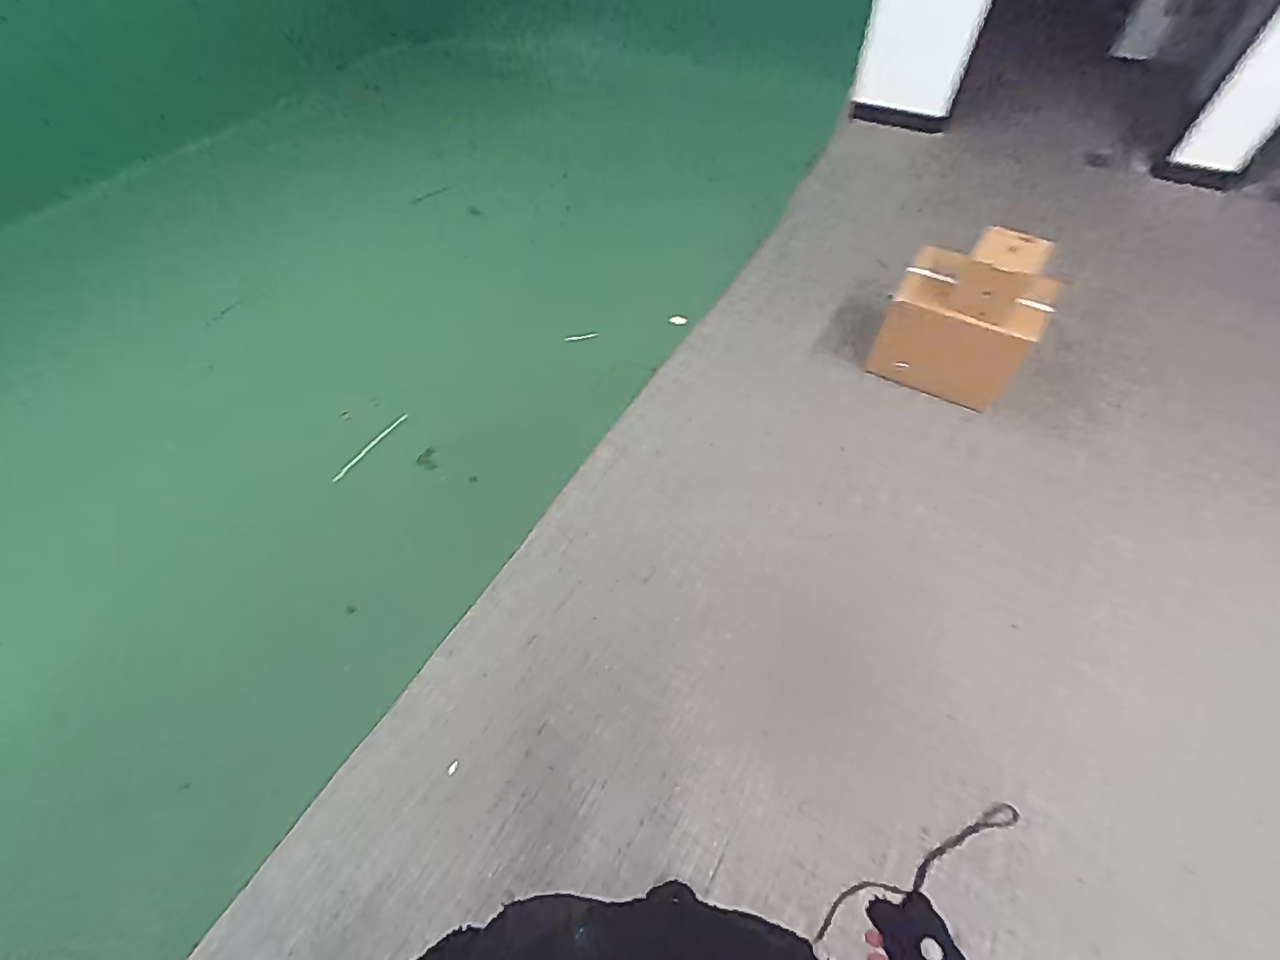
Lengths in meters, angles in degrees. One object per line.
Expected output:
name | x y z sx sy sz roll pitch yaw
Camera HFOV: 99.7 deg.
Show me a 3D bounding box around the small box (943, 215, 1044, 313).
small box | 0.985 -0.603 1.522 0.168 0.176 0.179 29 65 21
